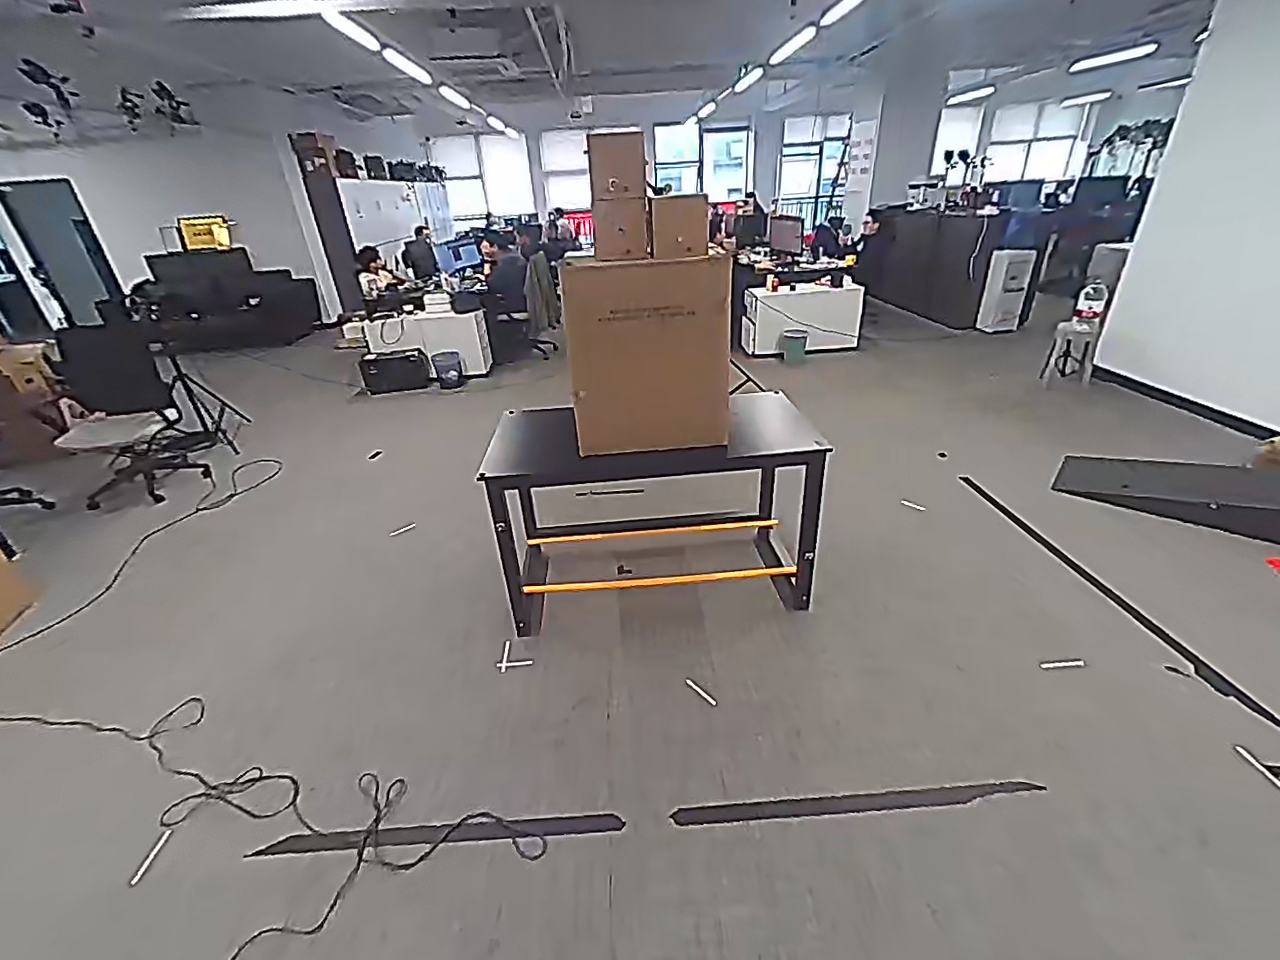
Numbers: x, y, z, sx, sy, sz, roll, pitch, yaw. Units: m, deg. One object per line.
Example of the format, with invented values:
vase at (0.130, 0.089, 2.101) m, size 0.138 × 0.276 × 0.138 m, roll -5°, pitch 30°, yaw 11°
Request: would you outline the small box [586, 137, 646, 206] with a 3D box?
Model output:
small box at (-0.071, -0.920, 1.618) m, size 0.168 × 0.176 × 0.179 m, roll -5°, pitch 30°, yaw -1°
